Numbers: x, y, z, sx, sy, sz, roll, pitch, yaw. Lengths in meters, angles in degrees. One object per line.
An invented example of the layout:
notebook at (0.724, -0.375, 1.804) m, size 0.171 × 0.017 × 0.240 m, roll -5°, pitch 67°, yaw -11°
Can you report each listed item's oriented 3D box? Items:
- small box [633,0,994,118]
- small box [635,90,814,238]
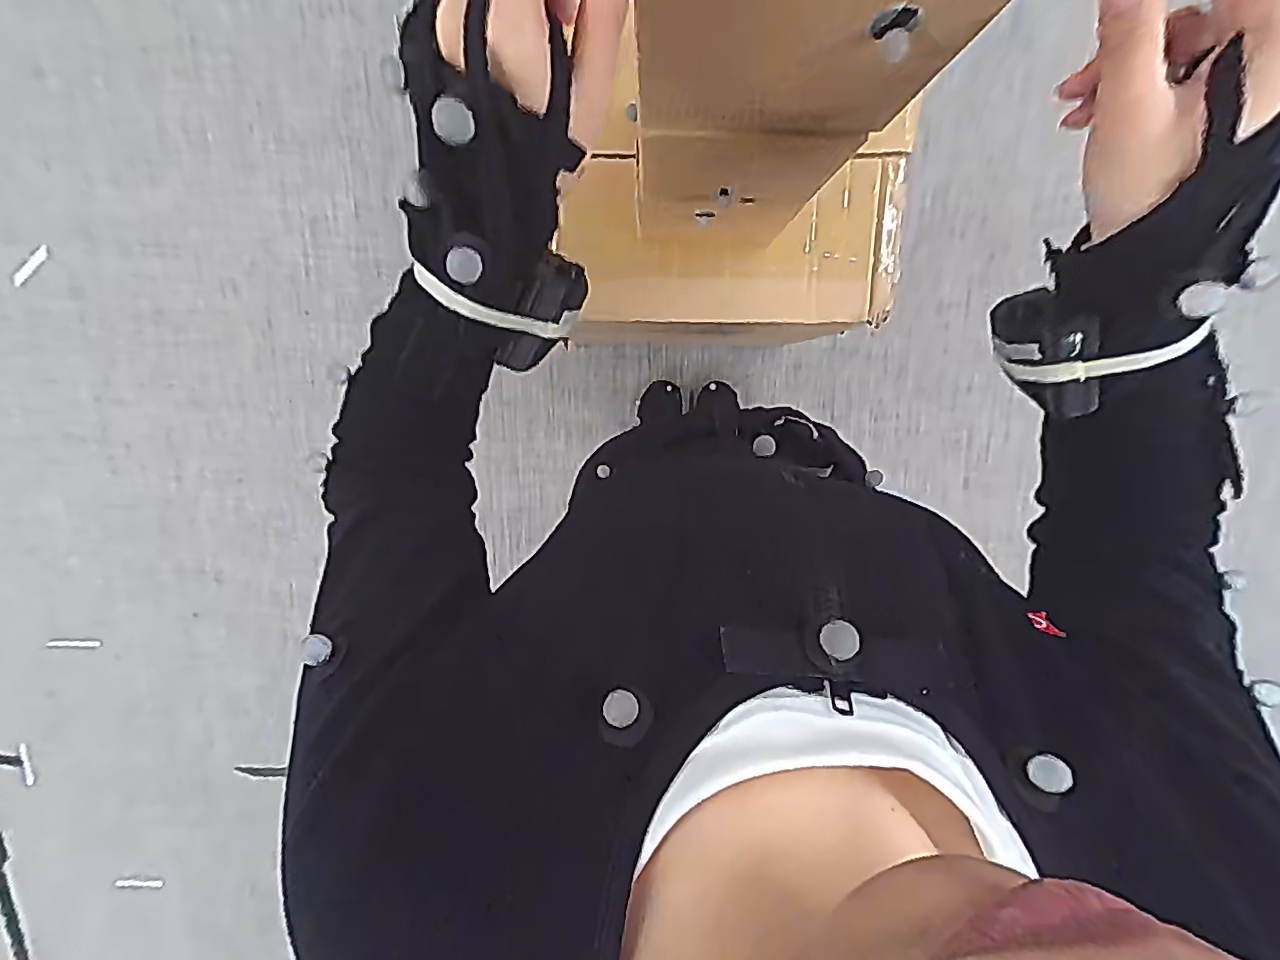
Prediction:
small box at (0.086, -0.318, 0.284) m, size 0.179 × 0.176 × 0.168 m, roll 2°, pitch 101°, yaw 1°
small box at (0.087, -0.380, 0.608) m, size 0.179 × 0.176 × 0.168 m, roll 2°, pitch 101°, yaw 0°
